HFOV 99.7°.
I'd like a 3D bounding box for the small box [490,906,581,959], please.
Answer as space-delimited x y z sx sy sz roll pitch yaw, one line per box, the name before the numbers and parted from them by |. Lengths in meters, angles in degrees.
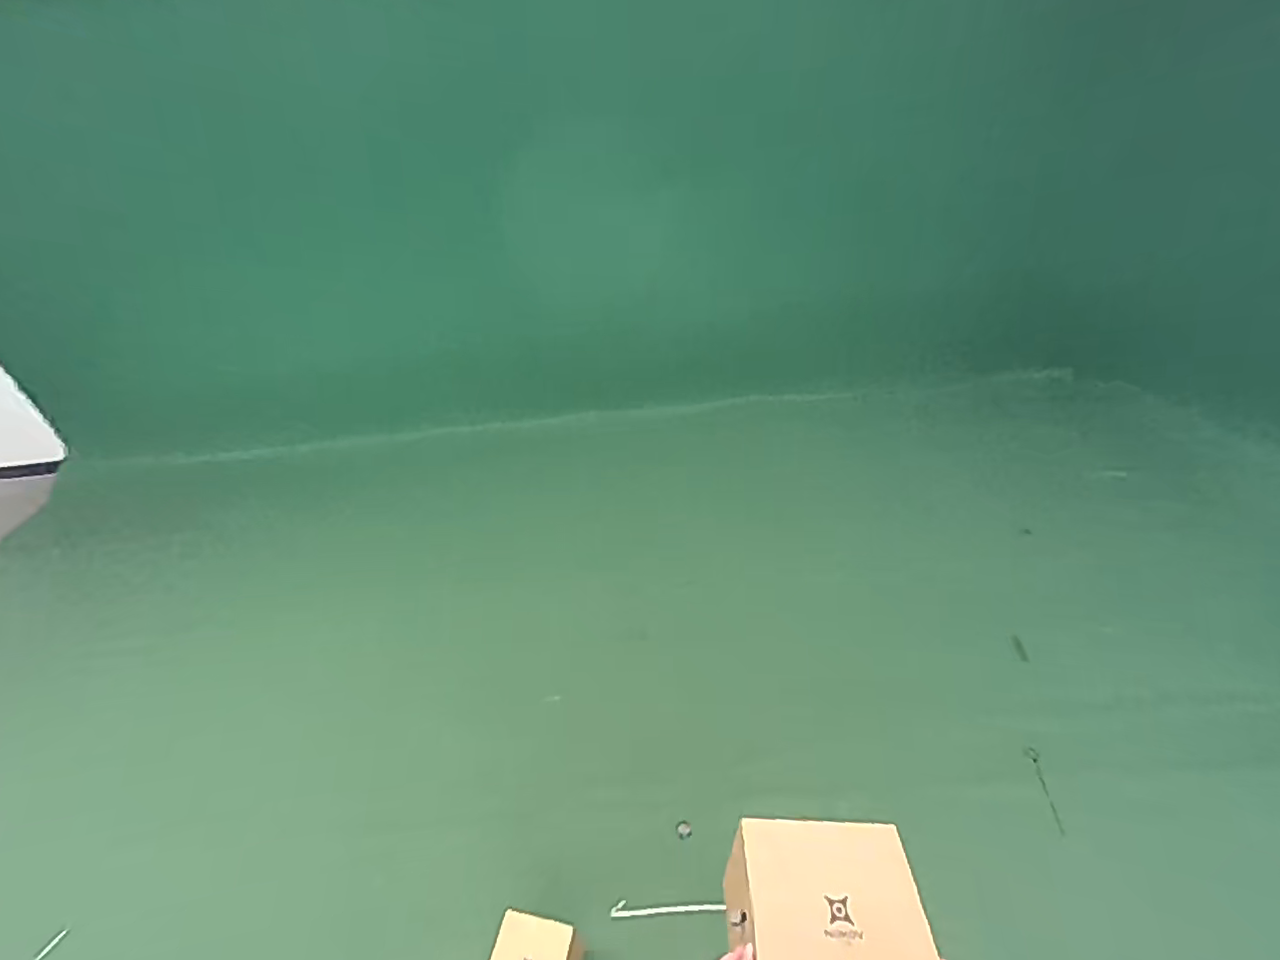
small box | -0.236 1.095 1.202 0.168 0.176 0.179 4 40 13
